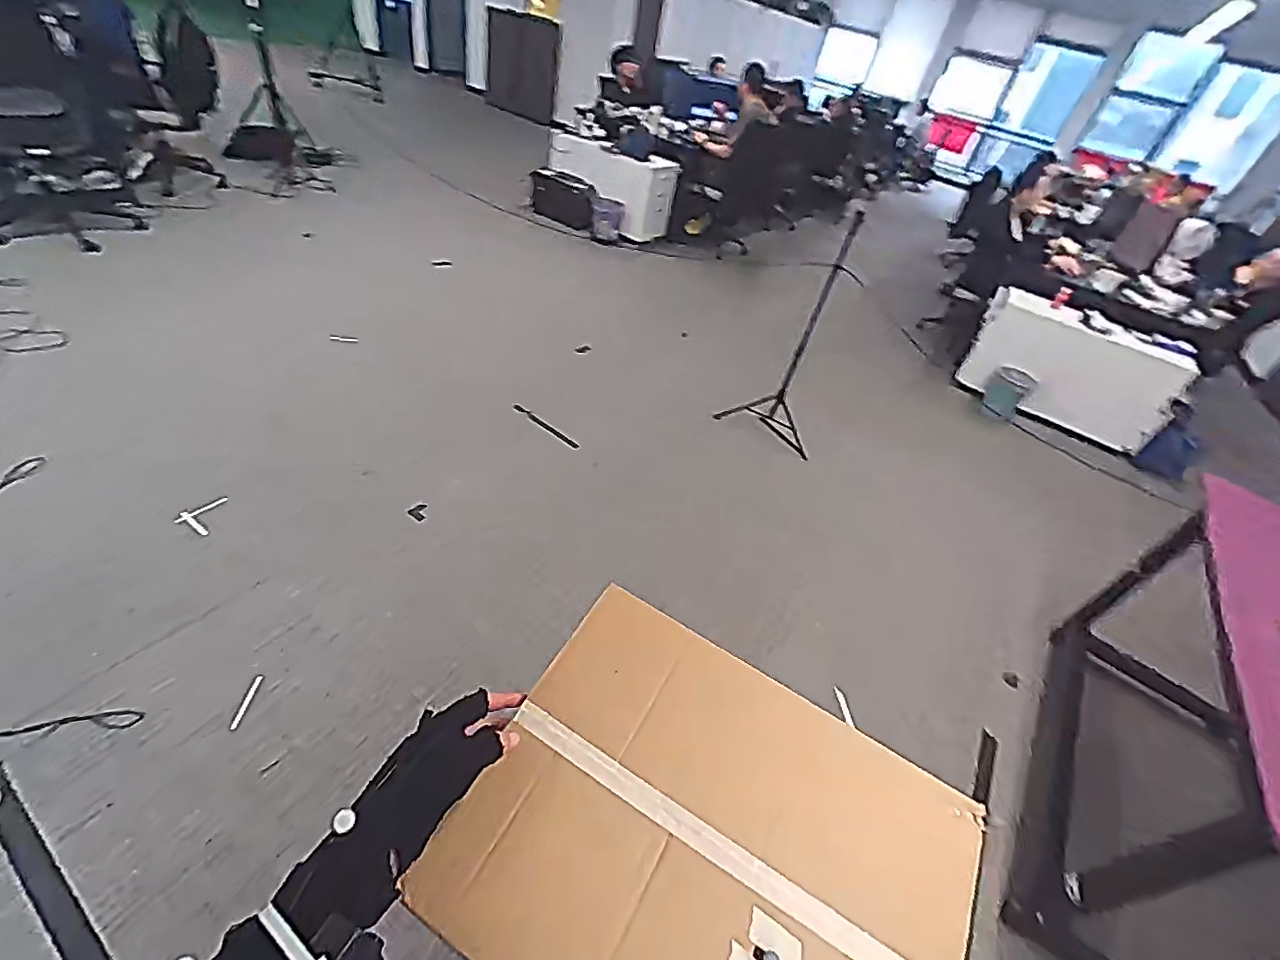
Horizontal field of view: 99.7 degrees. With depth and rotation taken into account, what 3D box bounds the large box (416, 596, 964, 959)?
[{"bbox_3d":[0.045,0.402,0.585,0.408,0.320,0.320,28,54,13],"label":"large box"}]
